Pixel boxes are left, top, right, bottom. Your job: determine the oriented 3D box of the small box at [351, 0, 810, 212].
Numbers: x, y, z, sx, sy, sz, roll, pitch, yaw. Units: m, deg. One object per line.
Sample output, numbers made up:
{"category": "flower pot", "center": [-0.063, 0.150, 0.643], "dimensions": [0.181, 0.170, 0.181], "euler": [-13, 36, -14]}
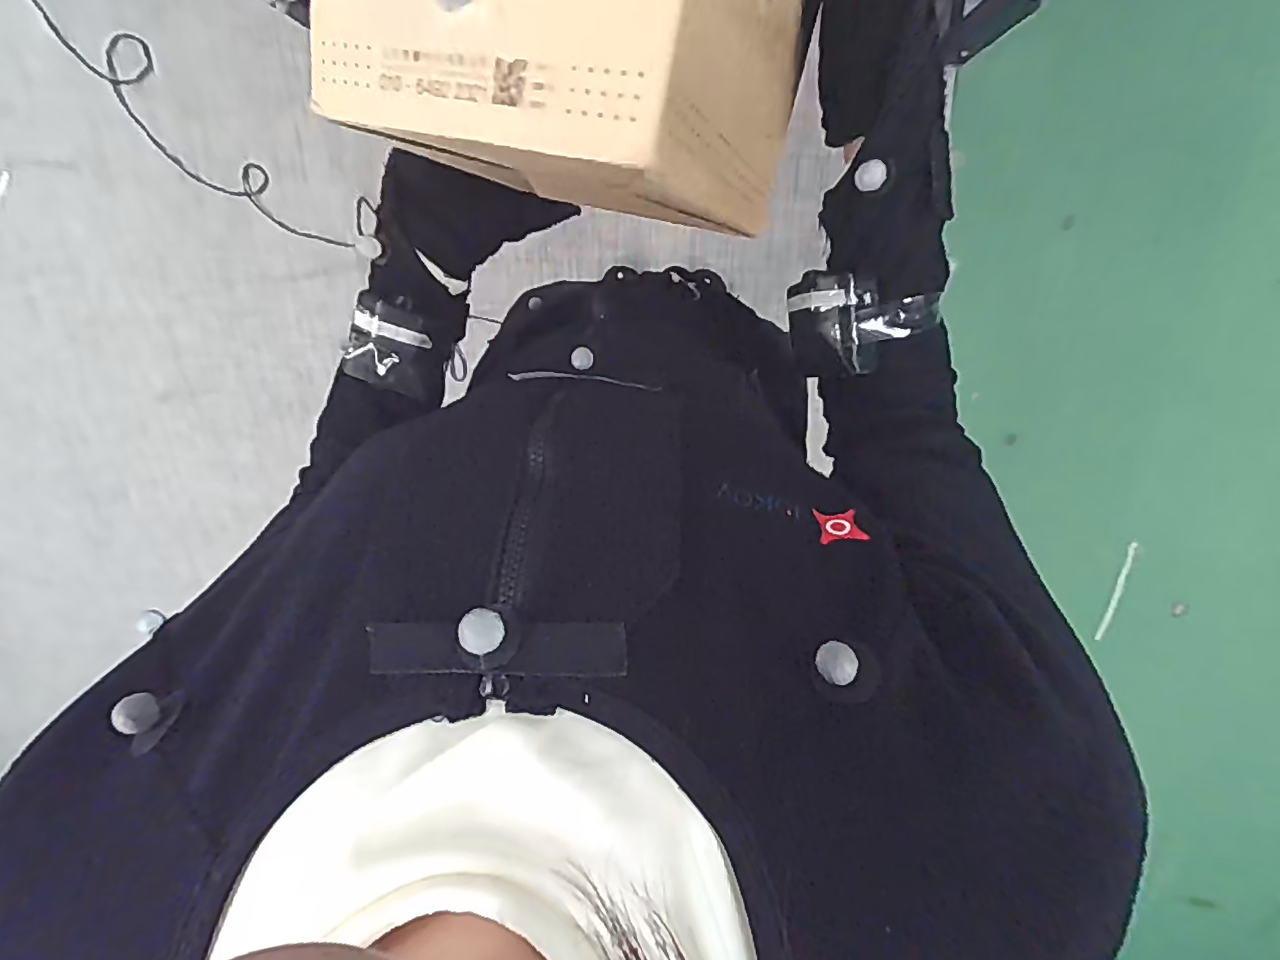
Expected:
{"category": "small box", "center": [-0.017, -0.241, 0.265], "dimensions": [0.168, 0.179, 0.176], "euler": [20, 113, 18]}
